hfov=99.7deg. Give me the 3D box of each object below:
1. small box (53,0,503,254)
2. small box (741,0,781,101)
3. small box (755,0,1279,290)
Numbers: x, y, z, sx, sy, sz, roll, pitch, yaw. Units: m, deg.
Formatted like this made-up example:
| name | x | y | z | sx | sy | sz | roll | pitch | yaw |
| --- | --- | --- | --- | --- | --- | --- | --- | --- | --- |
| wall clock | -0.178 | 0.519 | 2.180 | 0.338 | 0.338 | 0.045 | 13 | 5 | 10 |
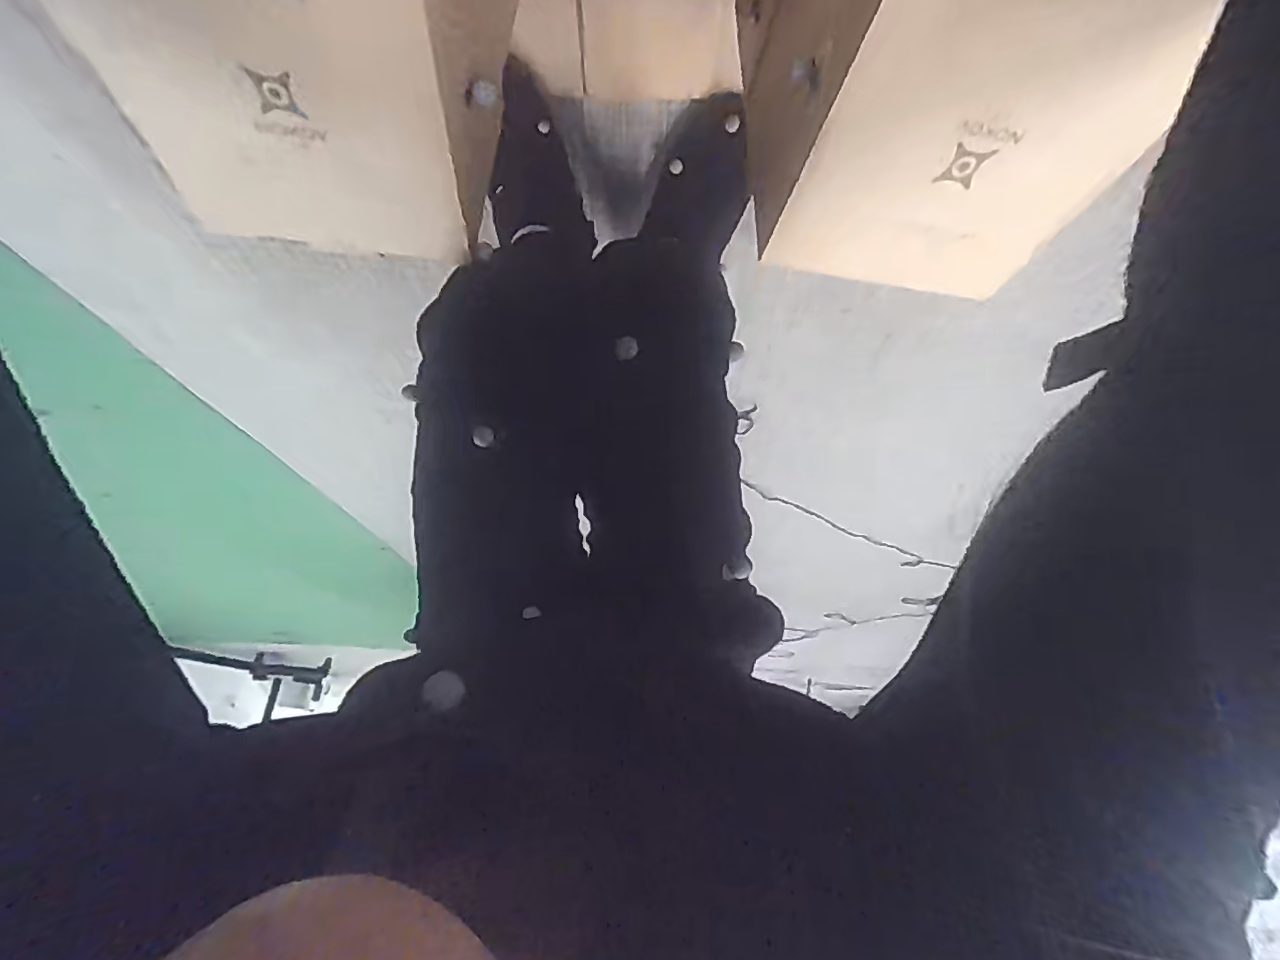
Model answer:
| name | x | y | z | sx | sy | sz | roll | pitch | yaw |
| --- | --- | --- | --- | --- | --- | --- | --- | --- | --- |
| small box | -0.175 | -0.264 | 0.302 | 0.168 | 0.176 | 0.179 | 4 | 155 | -7 |
| small box | 0.174 | -0.394 | 0.381 | 0.168 | 0.176 | 0.179 | 4 | 154 | -6 |
| small box | 0.173 | -0.246 | 0.314 | 0.168 | 0.176 | 0.179 | 6 | 155 | -8 |
